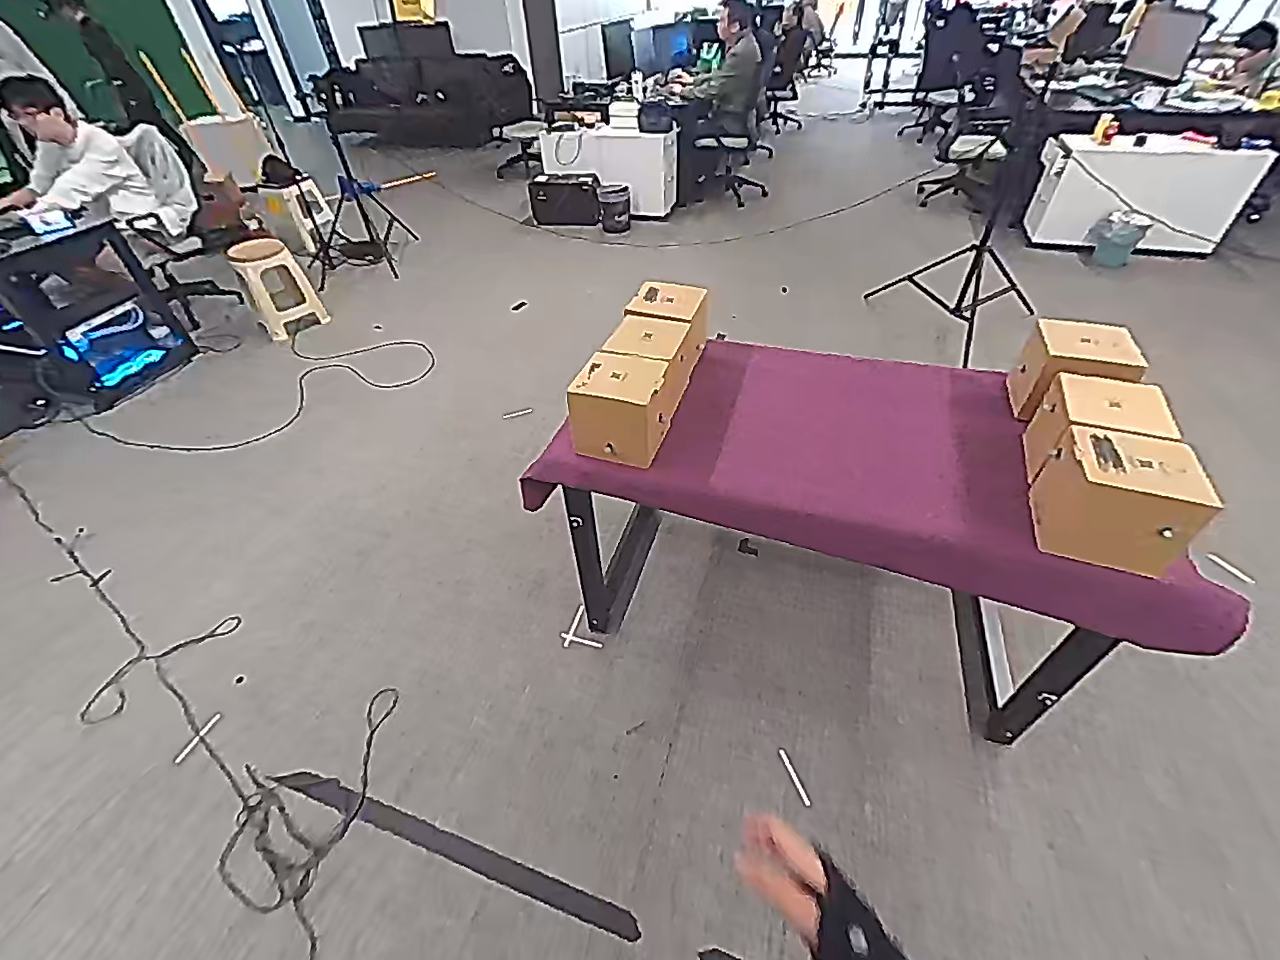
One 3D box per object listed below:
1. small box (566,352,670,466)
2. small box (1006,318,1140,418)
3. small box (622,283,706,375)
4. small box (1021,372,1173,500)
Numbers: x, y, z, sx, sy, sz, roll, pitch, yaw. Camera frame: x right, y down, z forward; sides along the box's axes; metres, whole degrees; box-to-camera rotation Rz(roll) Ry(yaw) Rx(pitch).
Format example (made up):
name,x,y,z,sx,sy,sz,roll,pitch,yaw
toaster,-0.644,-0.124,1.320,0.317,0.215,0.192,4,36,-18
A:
name,x,y,z,sx,sy,sz,roll,pitch,yaw
small box,-0.042,-0.152,1.177,0.179,0.176,0.168,13,45,14
small box,0.947,-0.238,1.207,0.179,0.176,0.168,12,47,15
small box,0.066,-0.398,1.428,0.179,0.176,0.168,14,48,15
small box,0.878,-0.086,1.060,0.168,0.176,0.179,14,45,19
